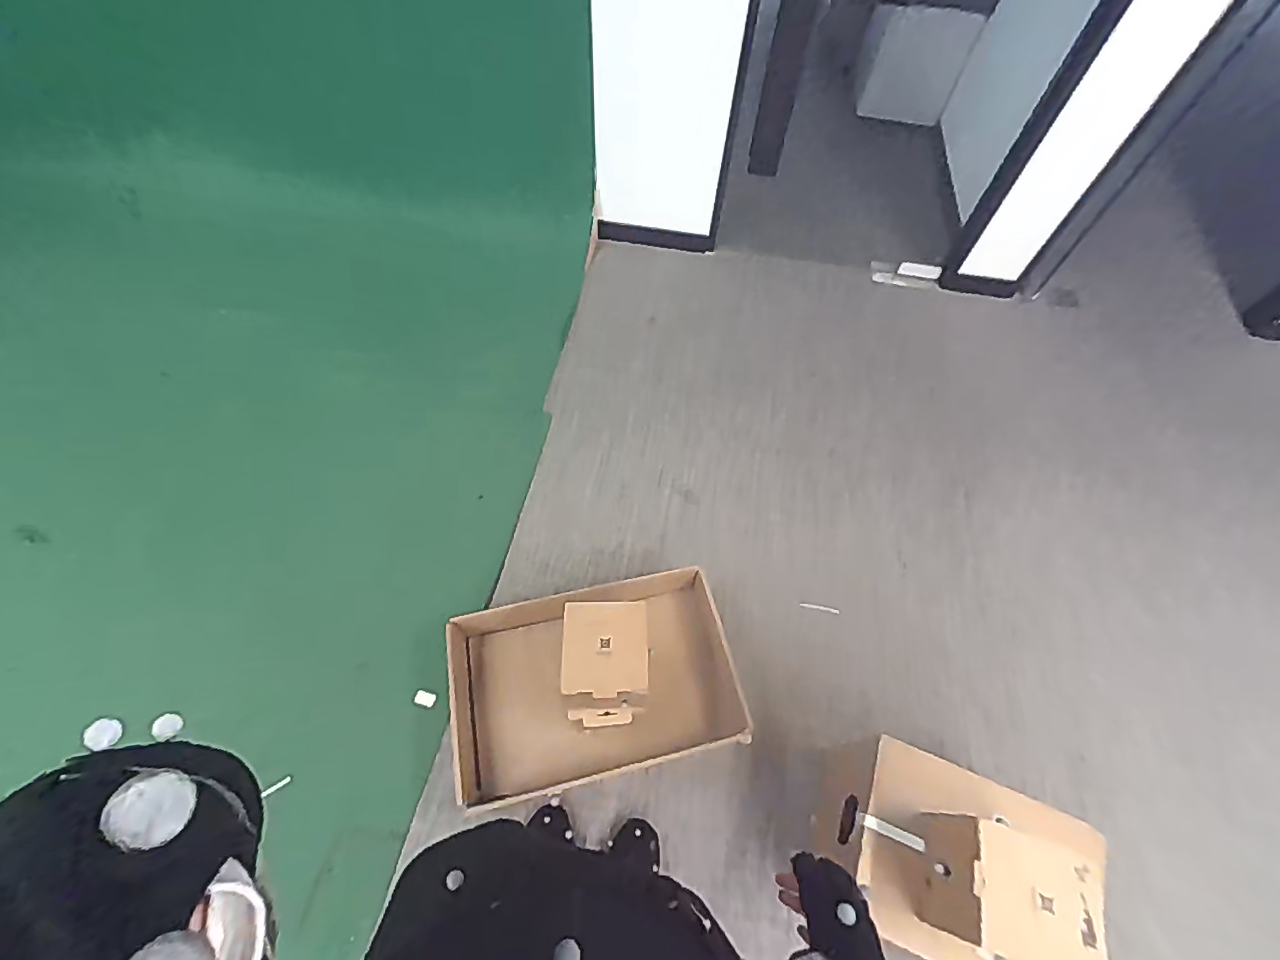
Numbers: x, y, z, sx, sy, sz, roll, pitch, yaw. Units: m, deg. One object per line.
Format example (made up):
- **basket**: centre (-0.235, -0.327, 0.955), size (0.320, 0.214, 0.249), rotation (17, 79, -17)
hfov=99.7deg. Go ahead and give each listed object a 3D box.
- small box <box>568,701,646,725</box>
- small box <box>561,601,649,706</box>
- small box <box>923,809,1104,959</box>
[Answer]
- **small box**: centre (-0.075, 0.456, 1.236), size (0.168, 0.176, 0.179), rotation (-5, 58, -4)
- **small box**: centre (-0.068, 0.360, 1.106), size (0.168, 0.176, 0.179), rotation (-1, 57, -3)
- **small box**: centre (0.571, 0.639, 0.851), size (0.179, 0.176, 0.168), rotation (16, 61, 7)
